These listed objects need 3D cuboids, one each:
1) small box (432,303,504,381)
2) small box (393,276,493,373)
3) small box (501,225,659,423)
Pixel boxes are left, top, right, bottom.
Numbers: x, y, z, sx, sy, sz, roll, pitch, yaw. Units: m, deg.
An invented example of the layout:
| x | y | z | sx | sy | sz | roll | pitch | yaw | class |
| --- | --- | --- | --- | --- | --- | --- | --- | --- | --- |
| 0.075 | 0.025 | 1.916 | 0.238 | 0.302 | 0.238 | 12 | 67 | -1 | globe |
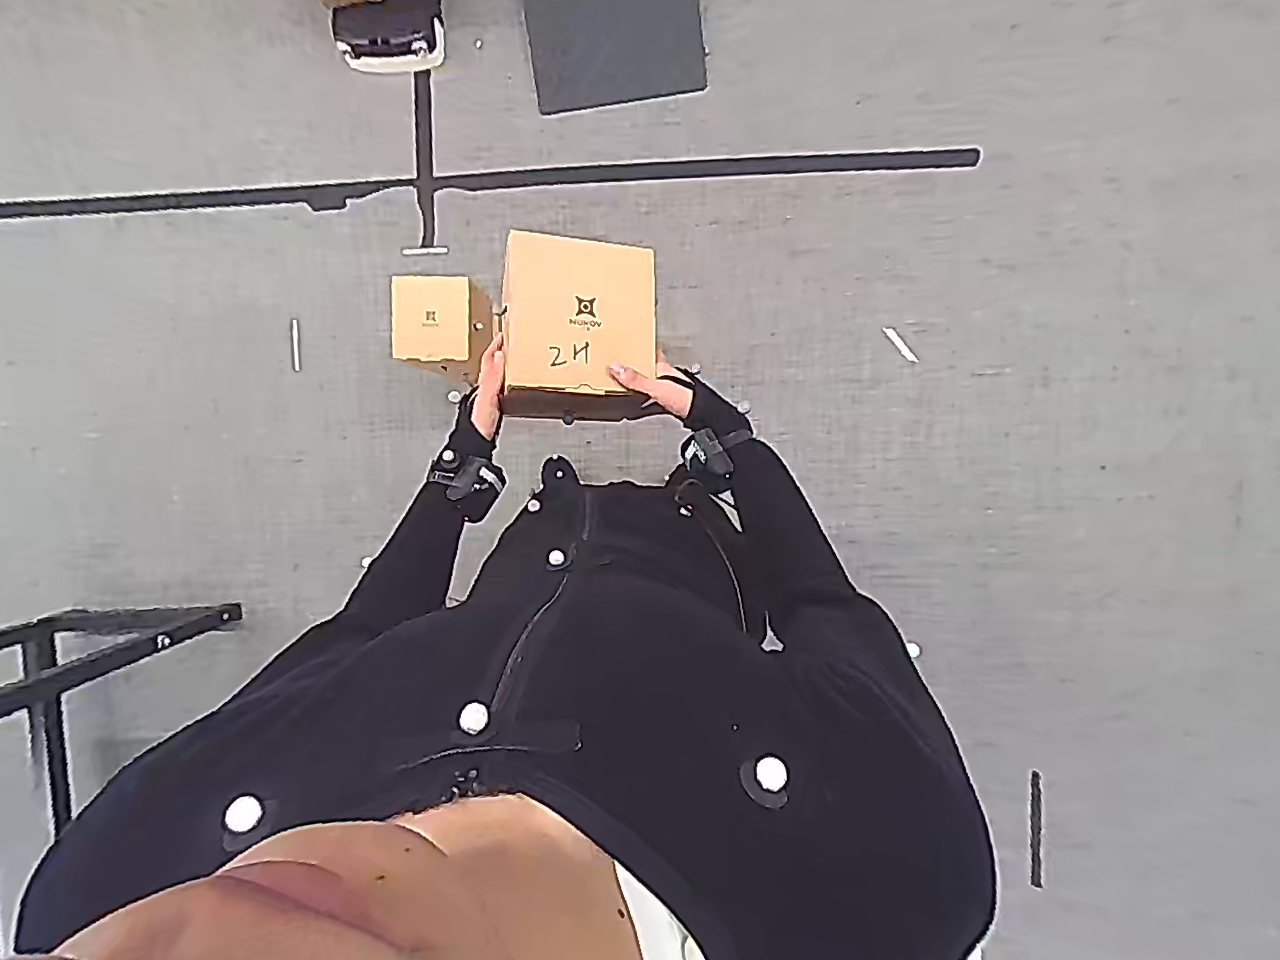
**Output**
| x | y | z | sx | sy | sz | roll | pitch | yaw | class |
| --- | --- | --- | --- | --- | --- | --- | --- | --- | --- |
| -0.418 | -0.344 | 1.371 | 0.179 | 0.176 | 0.168 | -1 | 93 | 1 | small box |
| -0.434 | -0.341 | 1.209 | 0.168 | 0.176 | 0.179 | 1 | 94 | 1 | small box |
| -0.081 | -0.176 | 0.664 | 0.168 | 0.176 | 0.179 | 2 | 85 | -16 | small box |
